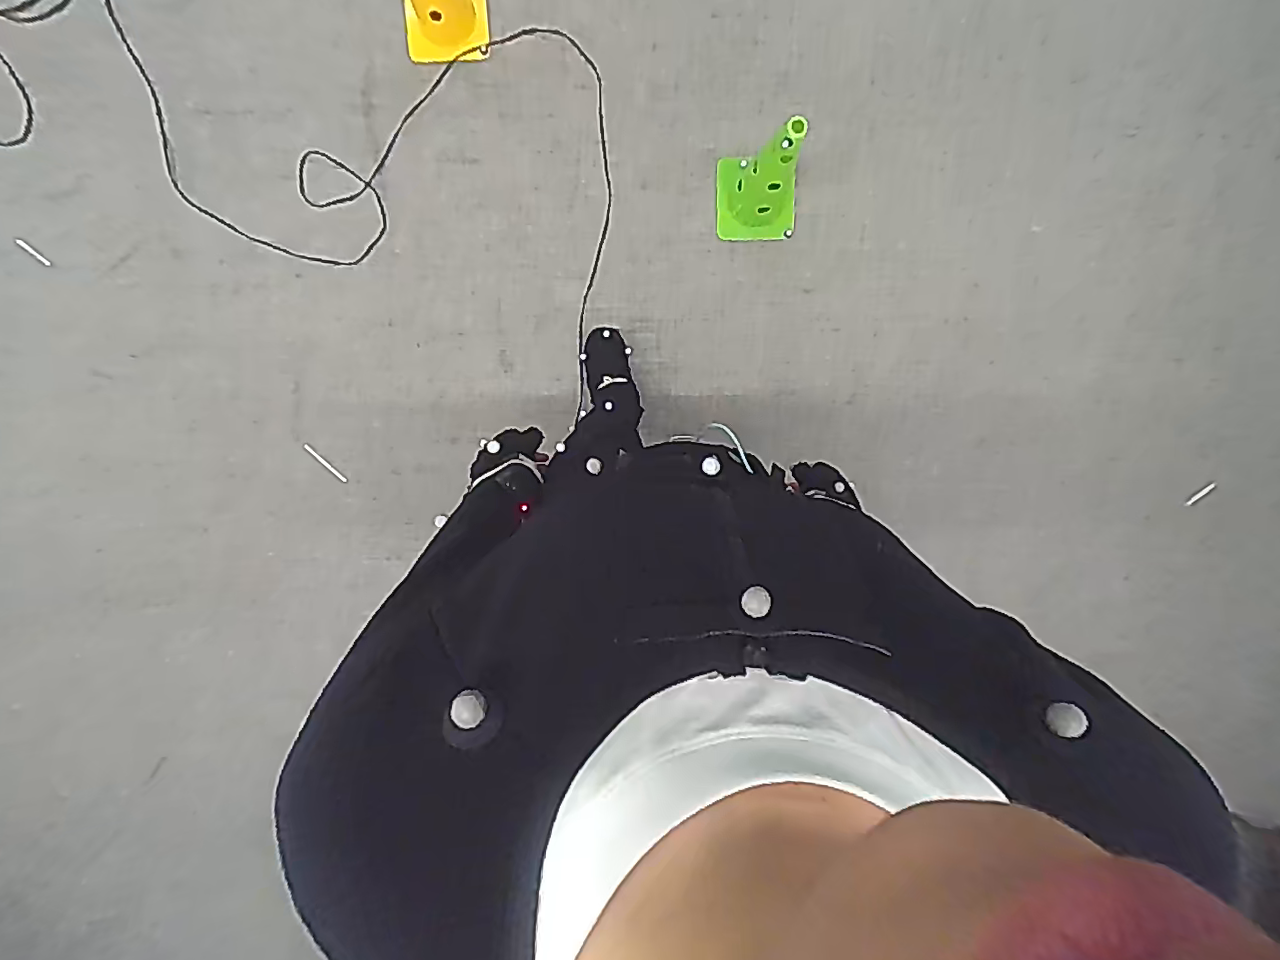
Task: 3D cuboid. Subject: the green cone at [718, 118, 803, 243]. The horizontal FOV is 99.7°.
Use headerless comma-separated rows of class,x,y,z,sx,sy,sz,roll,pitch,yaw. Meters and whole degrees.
green cone,0.301,-0.697,1.214,0.202,0.368,0.200,-1,96,1
